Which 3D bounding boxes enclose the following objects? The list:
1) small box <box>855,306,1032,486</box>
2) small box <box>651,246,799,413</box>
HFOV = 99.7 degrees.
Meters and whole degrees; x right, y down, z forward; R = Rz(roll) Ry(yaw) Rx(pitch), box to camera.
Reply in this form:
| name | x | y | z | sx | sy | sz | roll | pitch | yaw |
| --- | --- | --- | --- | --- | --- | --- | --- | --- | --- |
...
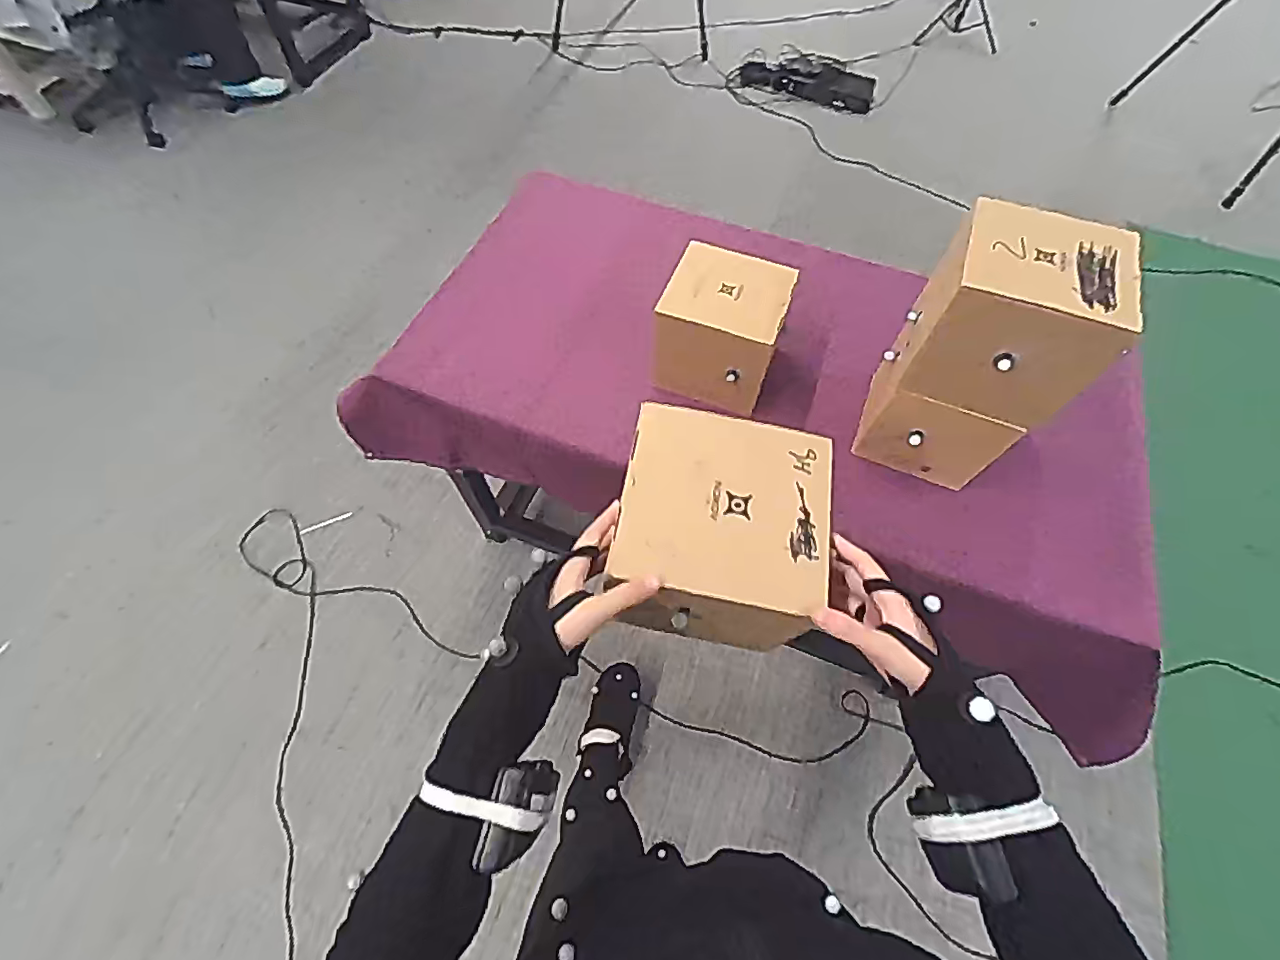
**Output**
| name | x | y | z | sx | sy | sz | roll | pitch | yaw |
| --- | --- | --- | --- | --- | --- | --- | --- | --- | --- |
| small box | 0.437 | -0.117 | 0.800 | 0.168 | 0.176 | 0.179 | 21 | 62 | 11 |
| small box | 0.127 | -0.231 | 0.857 | 0.179 | 0.176 | 0.168 | 20 | 61 | 10 |
